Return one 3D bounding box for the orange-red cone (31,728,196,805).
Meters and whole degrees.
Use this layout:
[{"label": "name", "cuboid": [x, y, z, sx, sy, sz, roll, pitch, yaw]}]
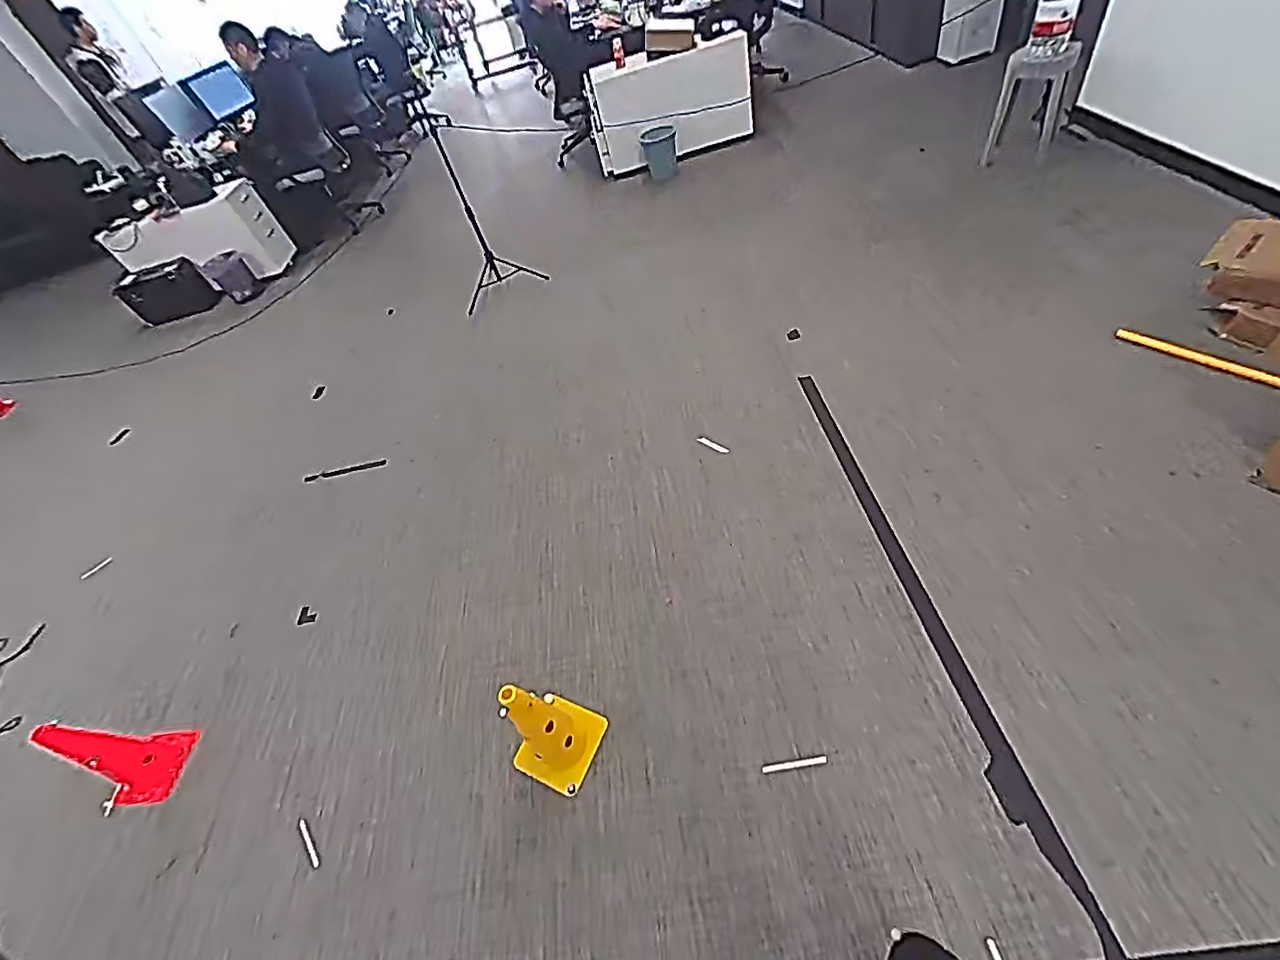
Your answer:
[{"label": "orange-red cone", "cuboid": [-1.512, 0.769, 1.523, 0.199, 0.360, 0.198, -7, 49, 10]}]
